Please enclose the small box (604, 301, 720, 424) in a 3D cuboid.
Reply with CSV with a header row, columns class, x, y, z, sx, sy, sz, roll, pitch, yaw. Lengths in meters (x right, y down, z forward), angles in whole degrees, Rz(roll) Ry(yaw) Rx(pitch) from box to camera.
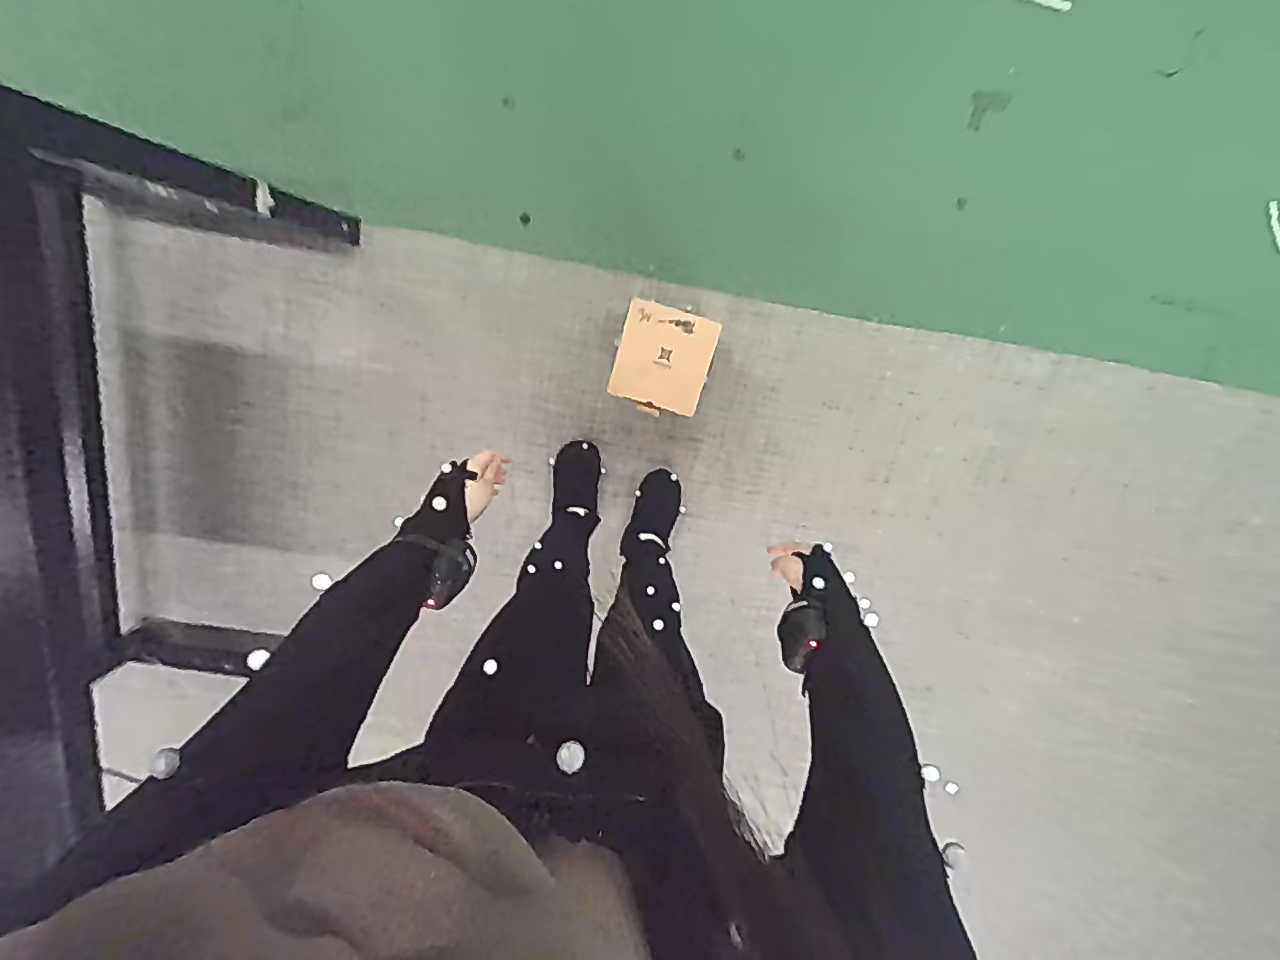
class,x,y,z,sx,sy,sz,roll,pitch,yaw
small box,0.040,-0.223,1.021,0.168,0.176,0.179,17,105,-3
